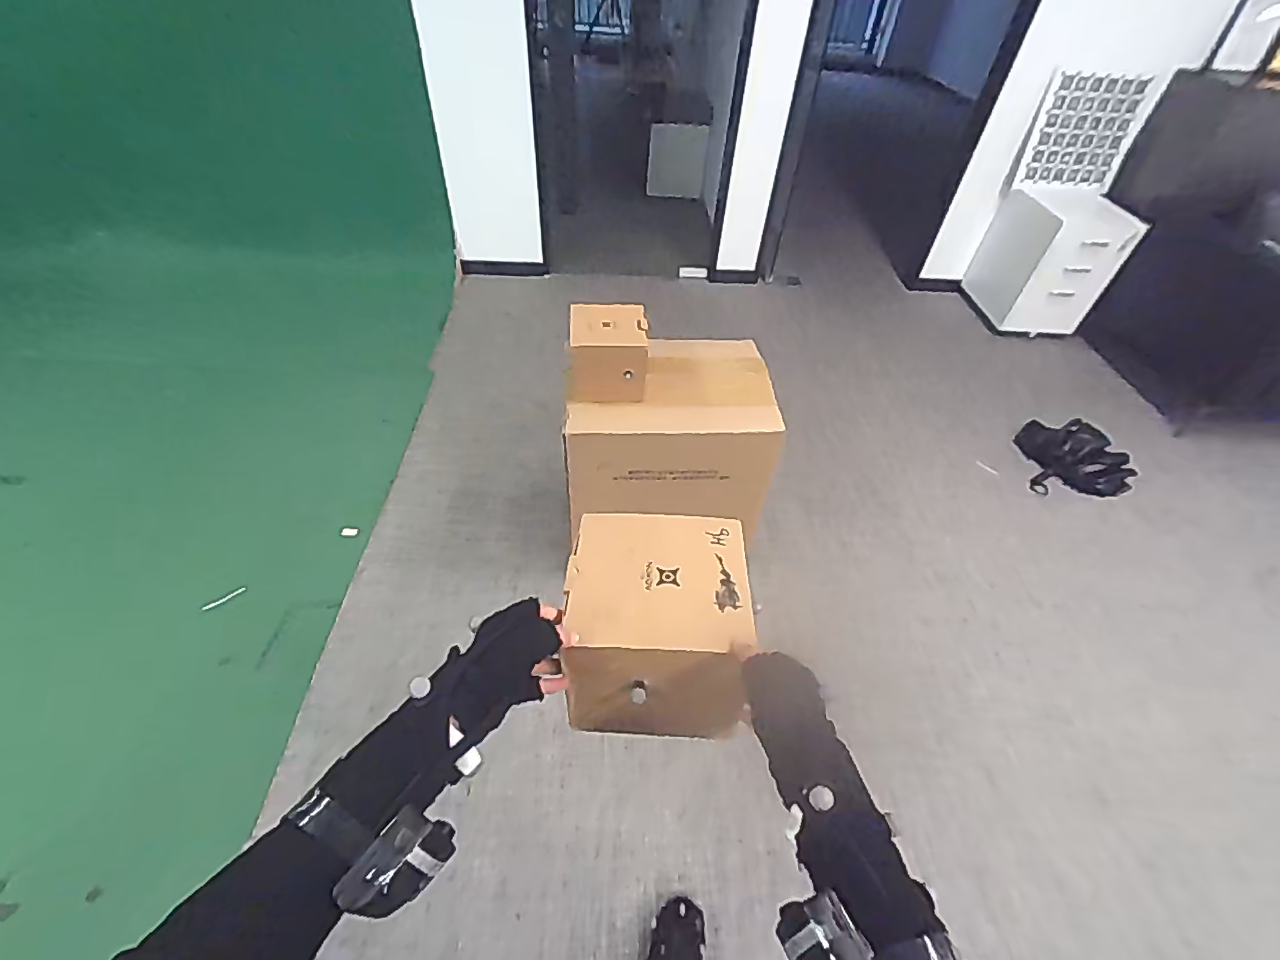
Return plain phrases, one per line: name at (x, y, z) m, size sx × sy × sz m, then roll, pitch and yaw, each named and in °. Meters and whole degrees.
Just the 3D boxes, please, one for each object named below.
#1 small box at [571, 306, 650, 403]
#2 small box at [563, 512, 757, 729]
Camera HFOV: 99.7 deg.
small box at (-0.075, -0.300, 1.305) m, size 0.179 × 0.176 × 0.168 m, roll -2°, pitch 50°, yaw -5°
small box at (0.022, 0.153, 0.589) m, size 0.179 × 0.176 × 0.168 m, roll 2°, pitch 41°, yaw 2°
